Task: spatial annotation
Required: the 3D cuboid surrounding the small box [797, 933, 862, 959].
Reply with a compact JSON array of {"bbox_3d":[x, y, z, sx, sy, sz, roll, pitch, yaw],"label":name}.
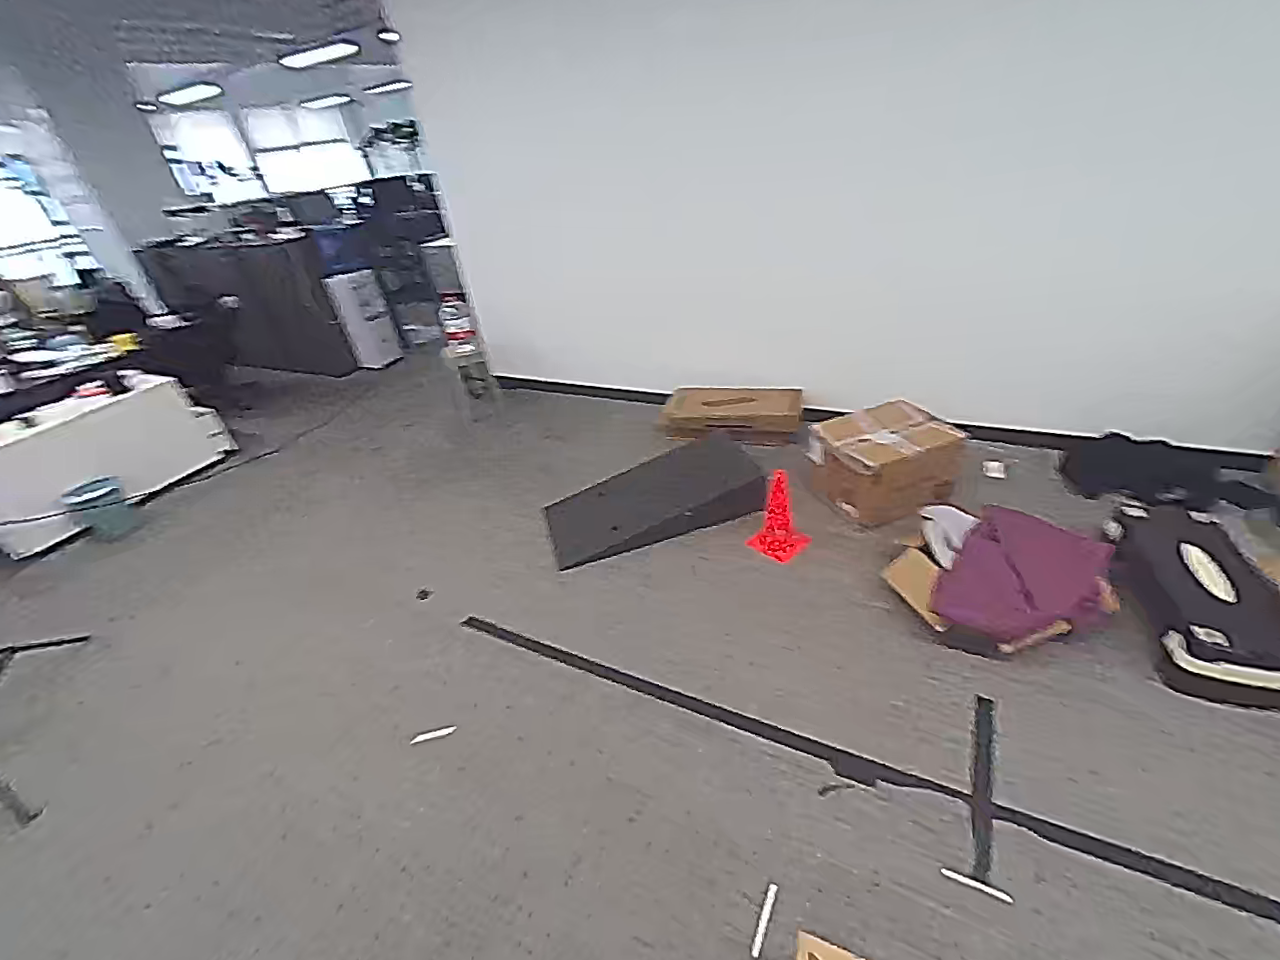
[{"bbox_3d":[0.380,1.031,1.035,0.179,0.176,0.168,9,37,24],"label":"small box"}]
